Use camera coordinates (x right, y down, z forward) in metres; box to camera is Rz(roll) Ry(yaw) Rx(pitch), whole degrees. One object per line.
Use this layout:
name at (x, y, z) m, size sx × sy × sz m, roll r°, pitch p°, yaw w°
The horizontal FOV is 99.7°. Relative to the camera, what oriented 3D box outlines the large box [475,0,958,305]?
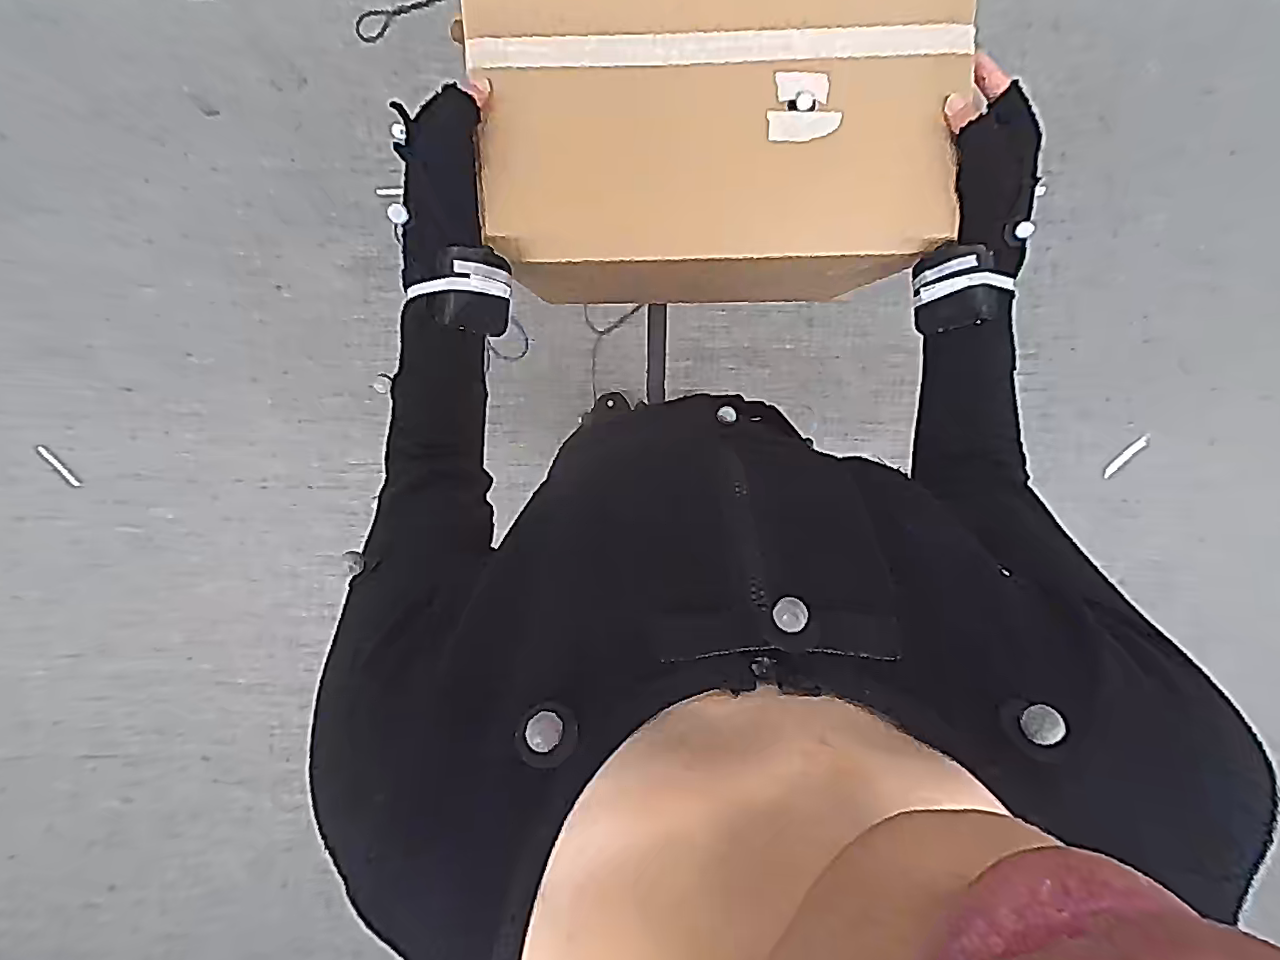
large box at (0.061, -0.378, 0.598) m, size 0.408 × 0.320 × 0.320 m, roll -1°, pitch 102°, yaw 0°
